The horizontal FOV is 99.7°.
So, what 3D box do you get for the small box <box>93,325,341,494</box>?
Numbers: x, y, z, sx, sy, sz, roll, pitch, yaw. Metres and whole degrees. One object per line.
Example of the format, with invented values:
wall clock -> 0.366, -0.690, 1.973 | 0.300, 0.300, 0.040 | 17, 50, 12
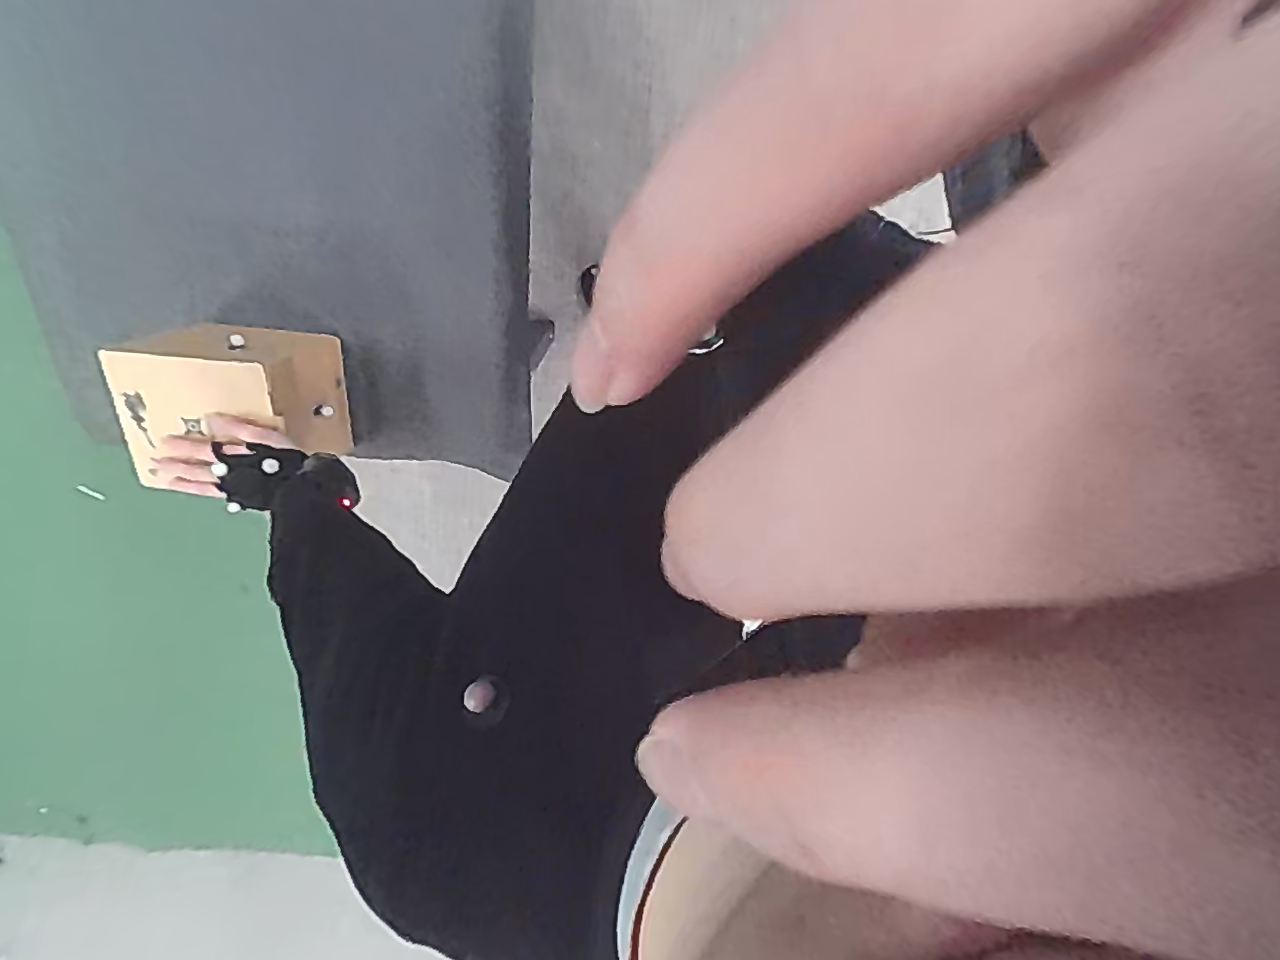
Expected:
small box -> -0.502, -0.095, 0.681 | 0.179, 0.176, 0.168 | 4, 114, -4
